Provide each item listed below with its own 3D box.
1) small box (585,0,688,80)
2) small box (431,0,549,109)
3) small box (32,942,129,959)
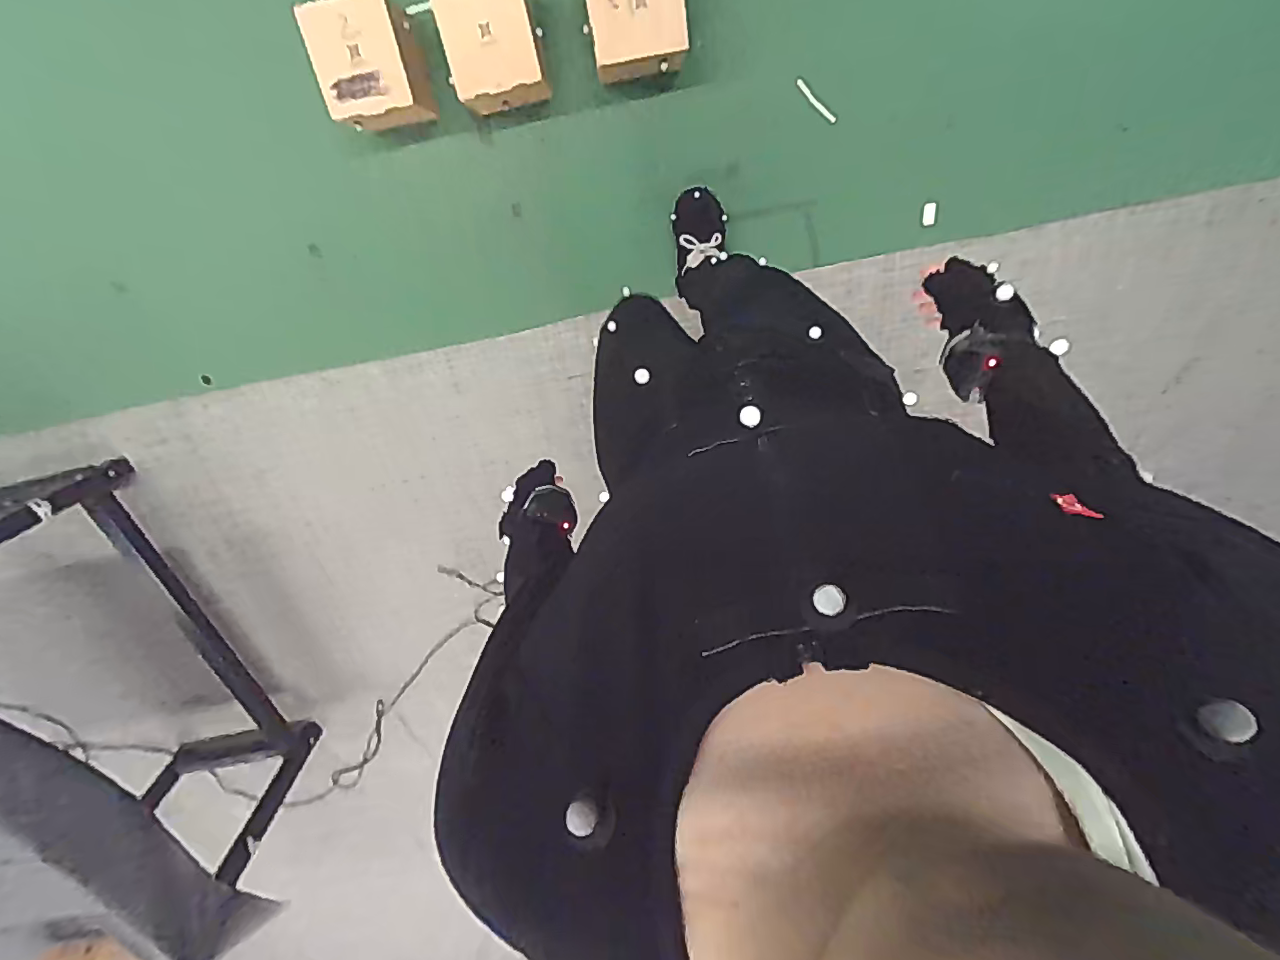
[{"bbox_3d":[-0.011,-0.891,1.034,0.179,0.176,0.168,-9,117,2],"label":"small box"},{"bbox_3d":[-0.283,-0.849,1.047,0.168,0.176,0.179,-11,118,3],"label":"small box"},{"bbox_3d":[-1.327,1.200,1.243,0.168,0.176,0.179,-11,117,4],"label":"small box"}]
